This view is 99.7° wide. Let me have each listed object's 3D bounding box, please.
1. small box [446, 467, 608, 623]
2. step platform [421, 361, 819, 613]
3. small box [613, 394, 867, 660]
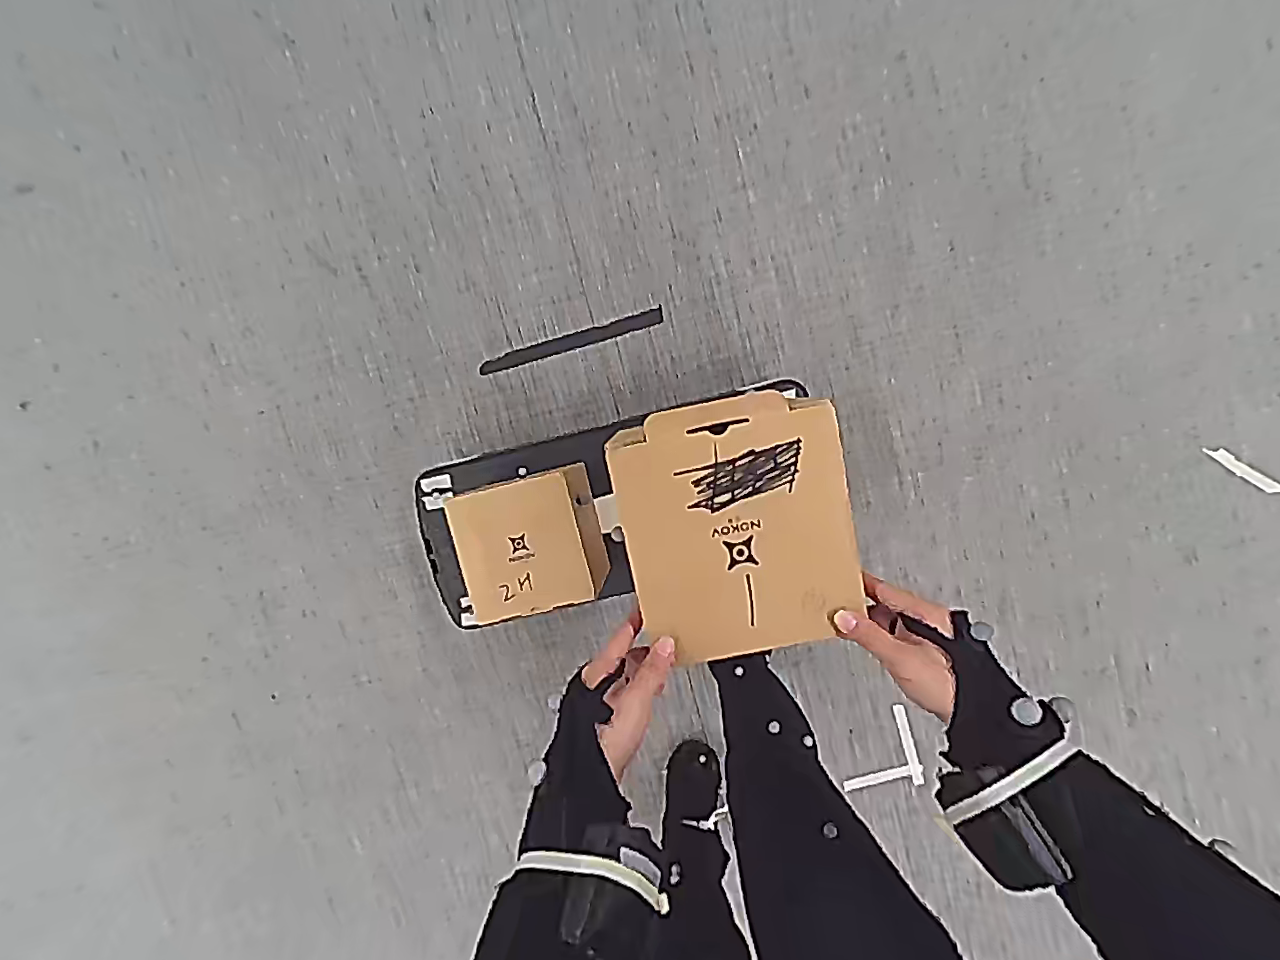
[{"bbox_3d":[-0.150,0.081,0.778,0.168,0.176,0.179,-13,95,5],"label":"small box"},{"bbox_3d":[-0.016,0.012,0.939,0.684,0.204,0.286,-14,95,5],"label":"step platform"},{"bbox_3d":[0.075,0.027,0.474,0.168,0.176,0.179,-11,99,3],"label":"small box"}]
